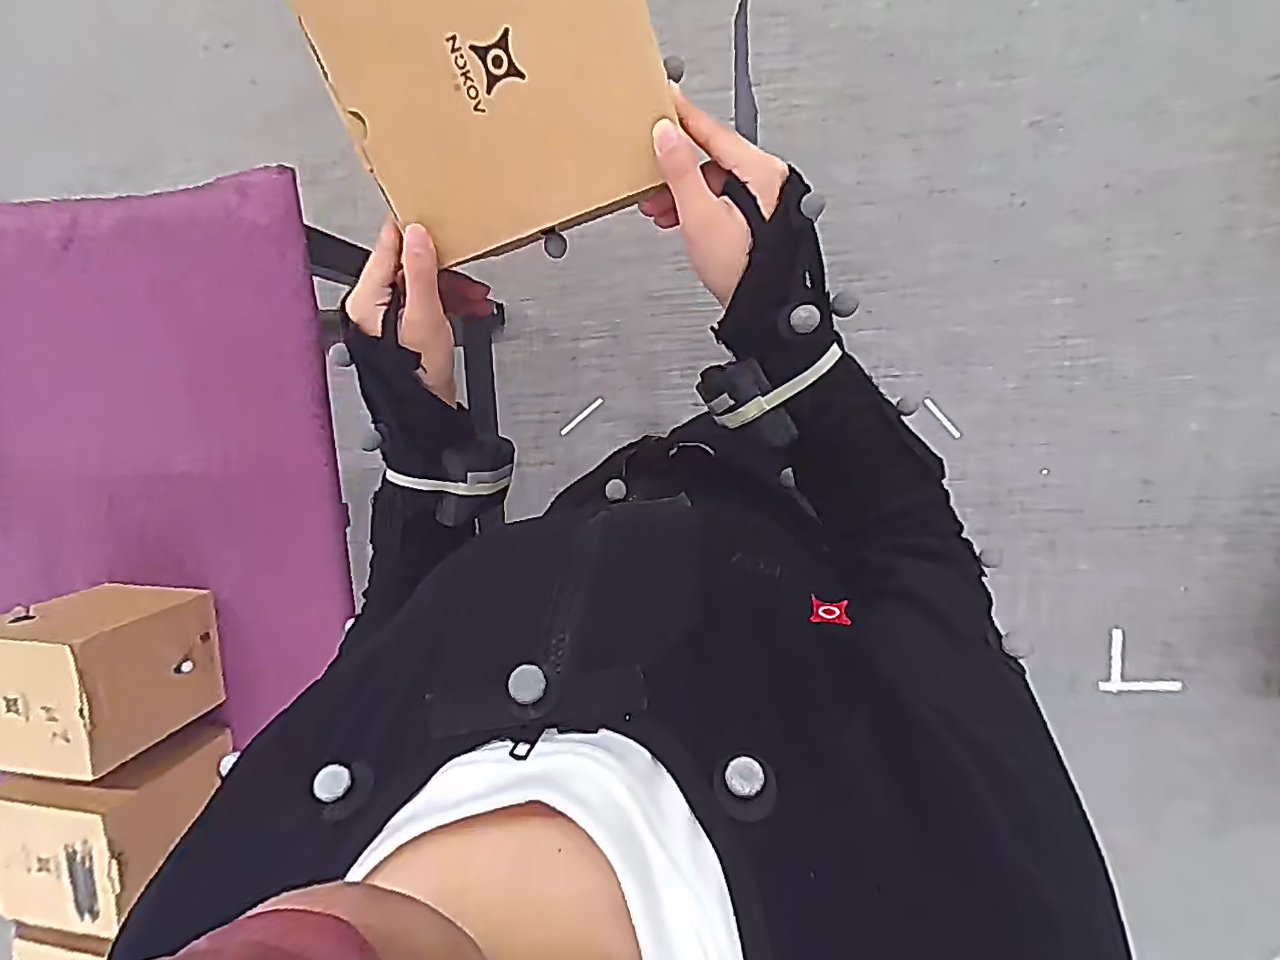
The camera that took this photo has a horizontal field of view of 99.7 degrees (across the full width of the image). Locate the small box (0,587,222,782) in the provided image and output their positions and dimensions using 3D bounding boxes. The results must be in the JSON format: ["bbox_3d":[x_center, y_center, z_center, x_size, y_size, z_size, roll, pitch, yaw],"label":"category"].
[{"bbox_3d":[-0.681,0.242,0.683,0.179,0.176,0.168,2,99,8],"label":"small box"}]

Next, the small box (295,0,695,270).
[{"bbox_3d":[-0.073,-0.256,0.354,0.179,0.176,0.168,-16,115,11],"label":"small box"}]
